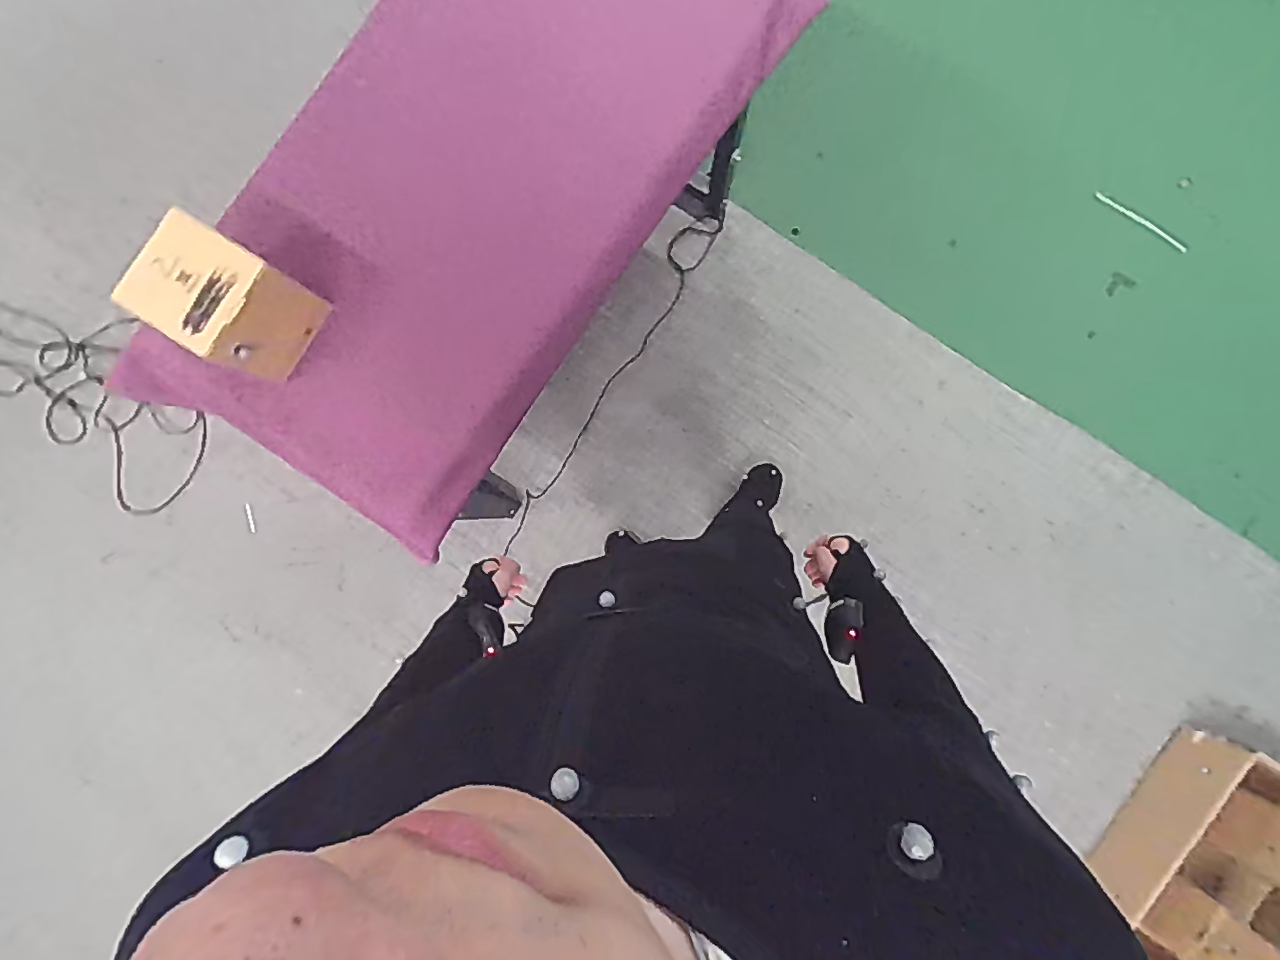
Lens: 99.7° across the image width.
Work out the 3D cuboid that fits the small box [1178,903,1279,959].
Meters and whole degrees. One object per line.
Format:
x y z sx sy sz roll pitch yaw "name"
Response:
1.444 1.153 1.259 0.179 0.176 0.168 40 89 4 "small box"
